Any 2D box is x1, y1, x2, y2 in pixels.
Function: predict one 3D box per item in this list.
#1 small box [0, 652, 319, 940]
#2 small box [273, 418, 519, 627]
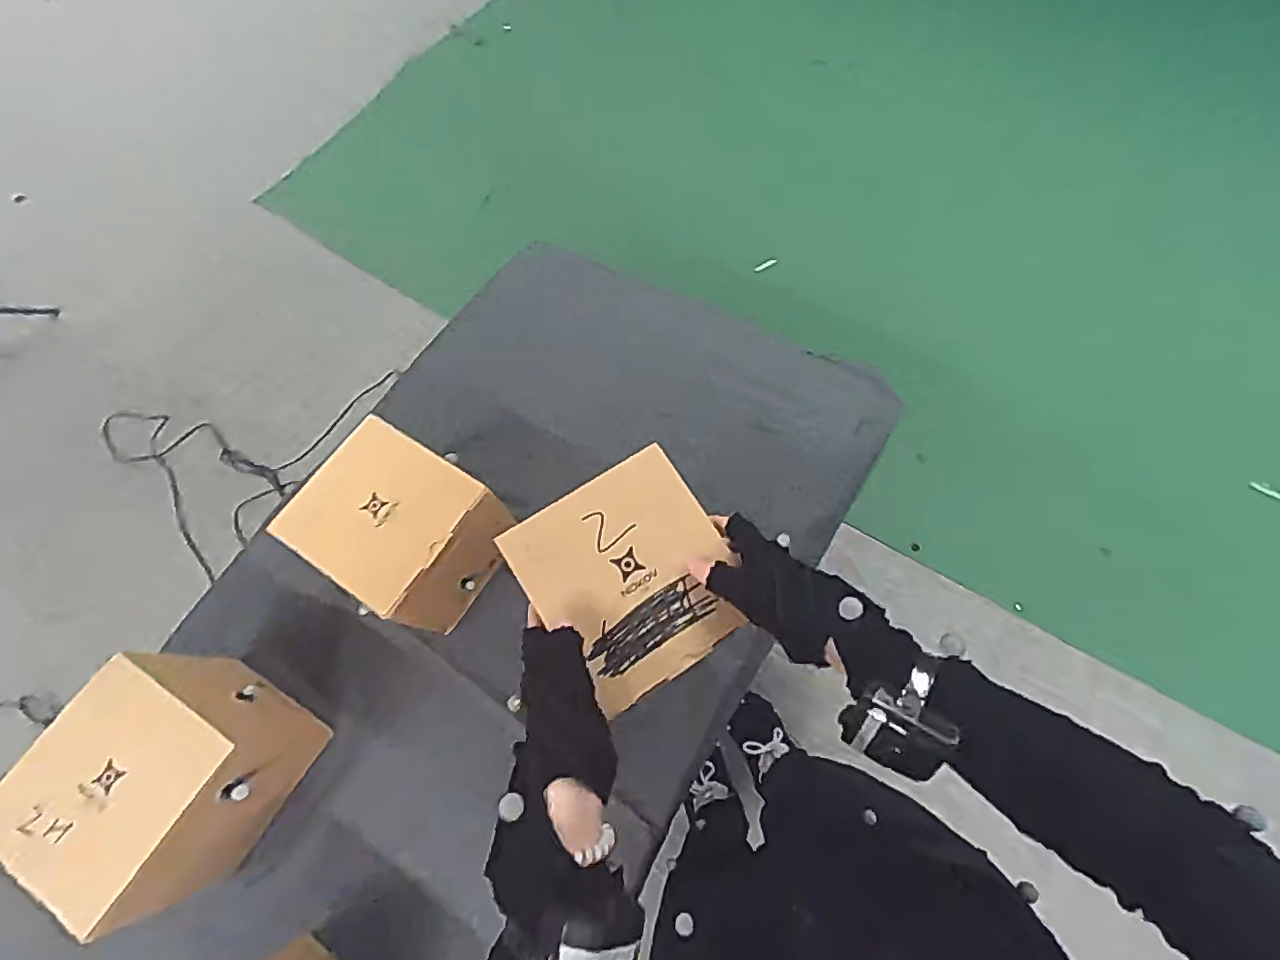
[{"bbox_3d":[-0.478,0.302,0.562,0.168,0.176,0.179,29,73,12],"label":"small box"},{"bbox_3d":[-0.276,0.061,0.654,0.179,0.176,0.168,31,72,12],"label":"small box"}]
